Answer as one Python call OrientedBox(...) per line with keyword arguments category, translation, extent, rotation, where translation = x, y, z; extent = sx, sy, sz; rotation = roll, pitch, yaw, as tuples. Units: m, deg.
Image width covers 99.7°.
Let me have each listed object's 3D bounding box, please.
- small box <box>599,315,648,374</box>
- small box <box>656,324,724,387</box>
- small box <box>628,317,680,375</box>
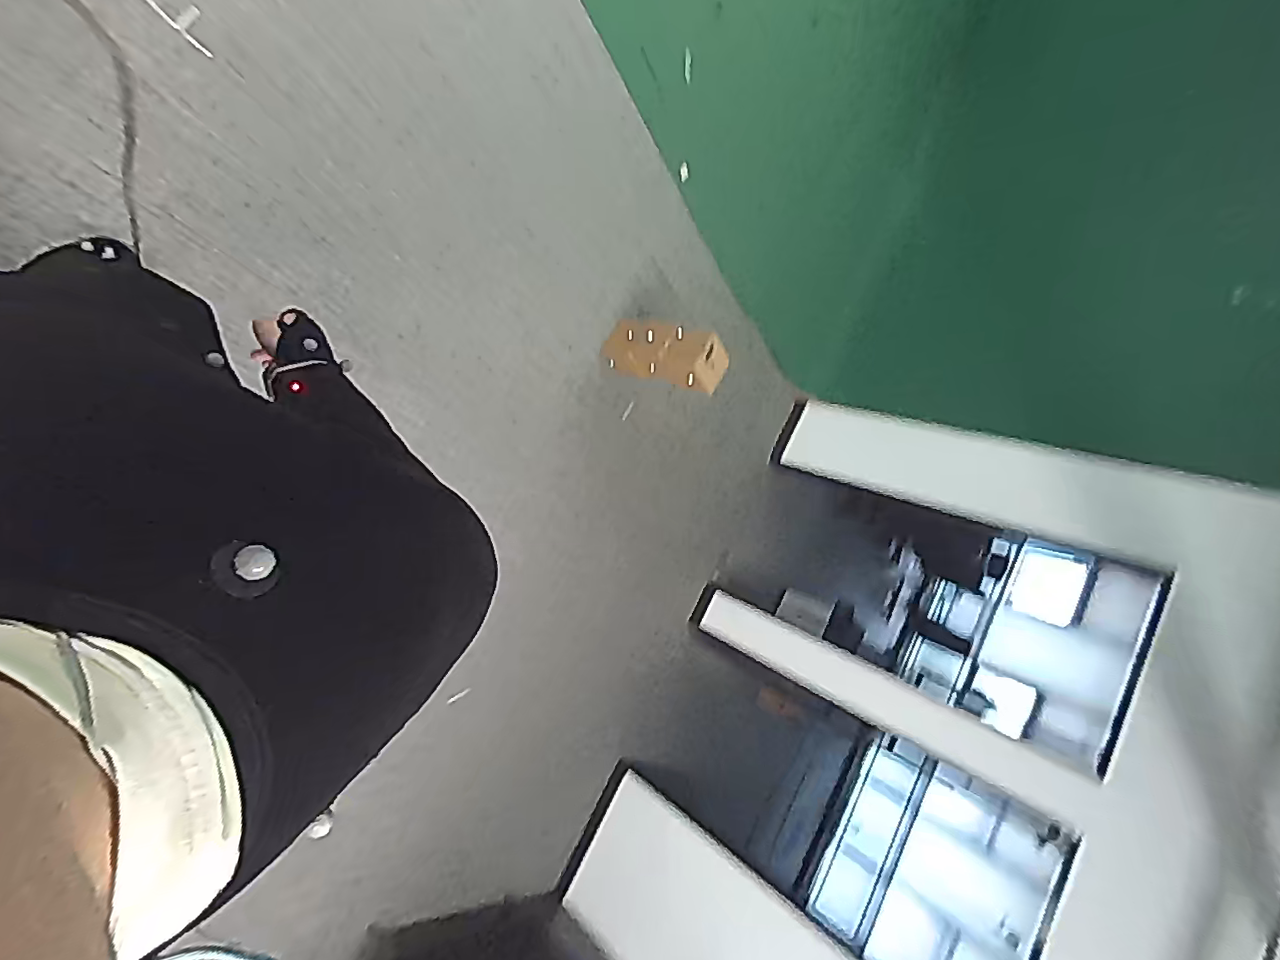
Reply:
OrientedBox(category="small box", translation=(-0.041, -0.573, 2.270), extent=(0.179, 0.176, 0.168), rotation=(-58, 140, -13))
OrientedBox(category="small box", translation=(0.188, -0.482, 2.079), extent=(0.168, 0.176, 0.179), rotation=(-59, 141, -12))
OrientedBox(category="small box", translation=(0.080, -0.534, 2.166), extent=(0.168, 0.176, 0.179), rotation=(-59, 139, -13))
